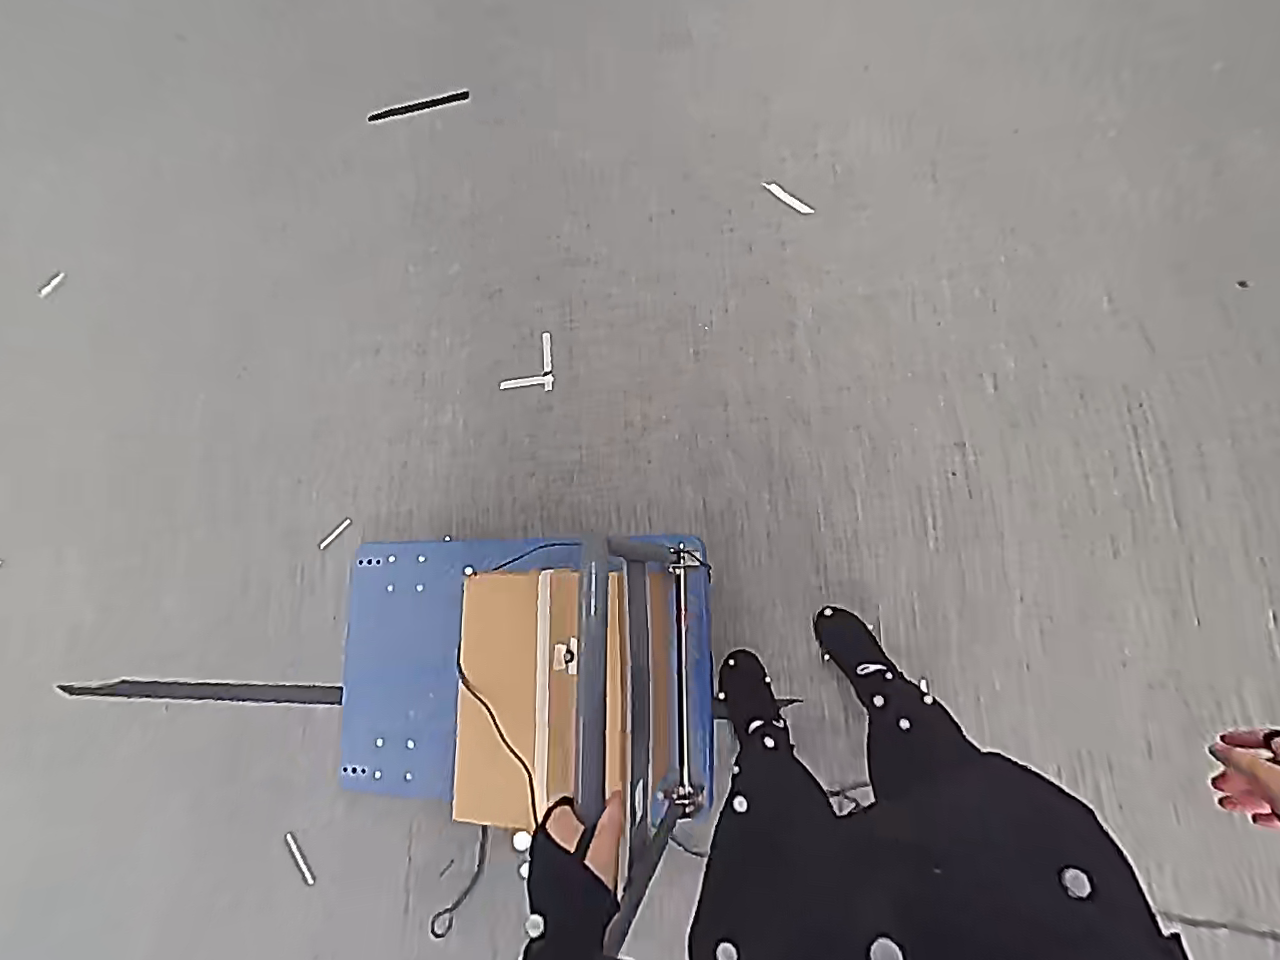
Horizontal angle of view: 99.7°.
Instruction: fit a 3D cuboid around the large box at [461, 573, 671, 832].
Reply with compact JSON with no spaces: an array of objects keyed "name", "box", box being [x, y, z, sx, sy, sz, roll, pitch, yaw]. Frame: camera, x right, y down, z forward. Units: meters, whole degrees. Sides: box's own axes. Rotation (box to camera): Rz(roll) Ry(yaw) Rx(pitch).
[{"name":"large box","box":[-0.121,0.389,1.047,0.320,0.320,0.408,-3,79,12]}]
